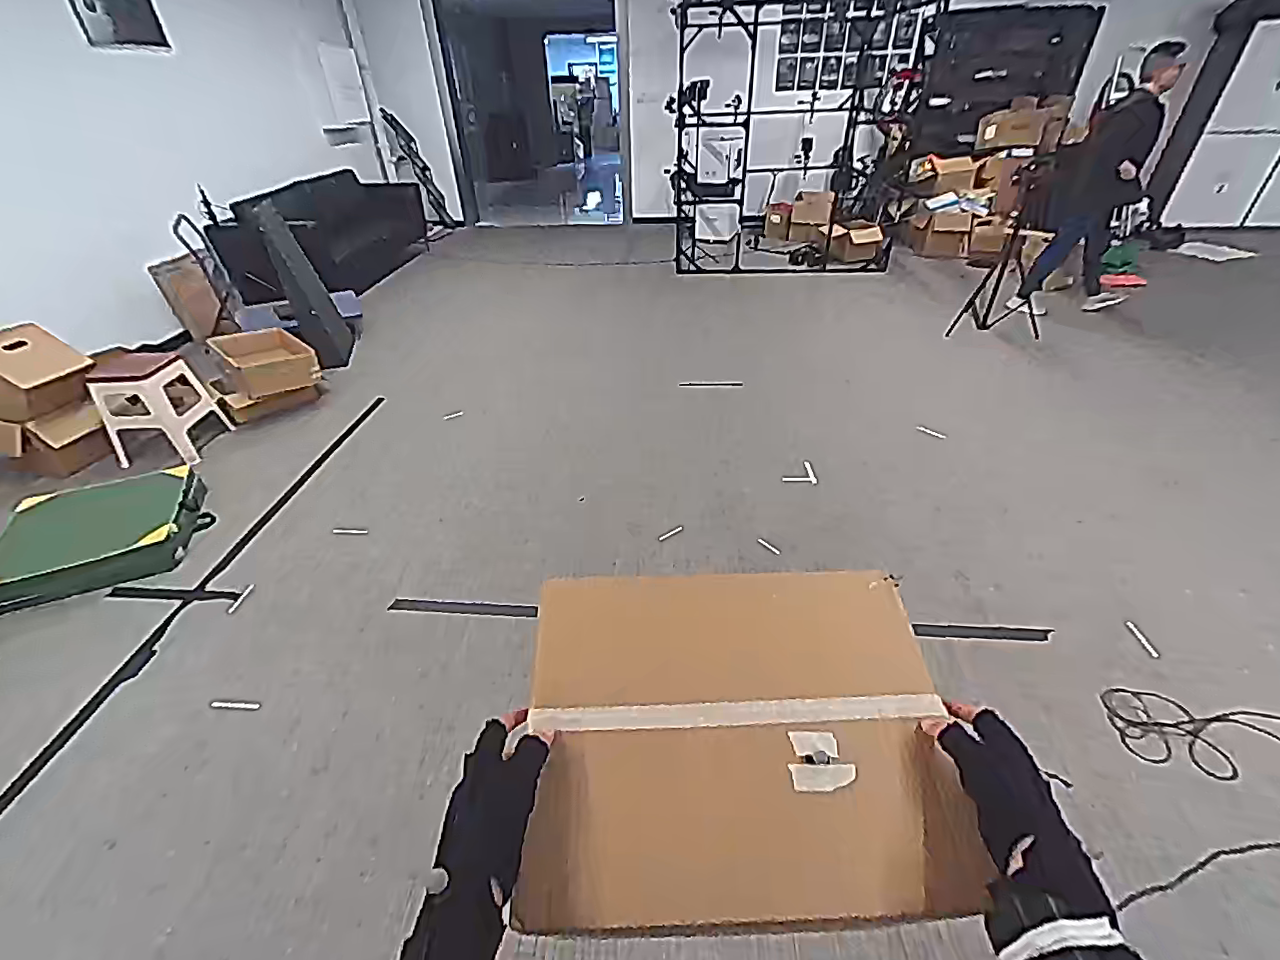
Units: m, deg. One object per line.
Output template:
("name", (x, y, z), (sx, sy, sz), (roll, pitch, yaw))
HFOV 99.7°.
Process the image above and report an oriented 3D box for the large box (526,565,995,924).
("large box", (0.094, 0.321, 0.654), (0.408, 0.320, 0.320), (-1, 49, -2))
